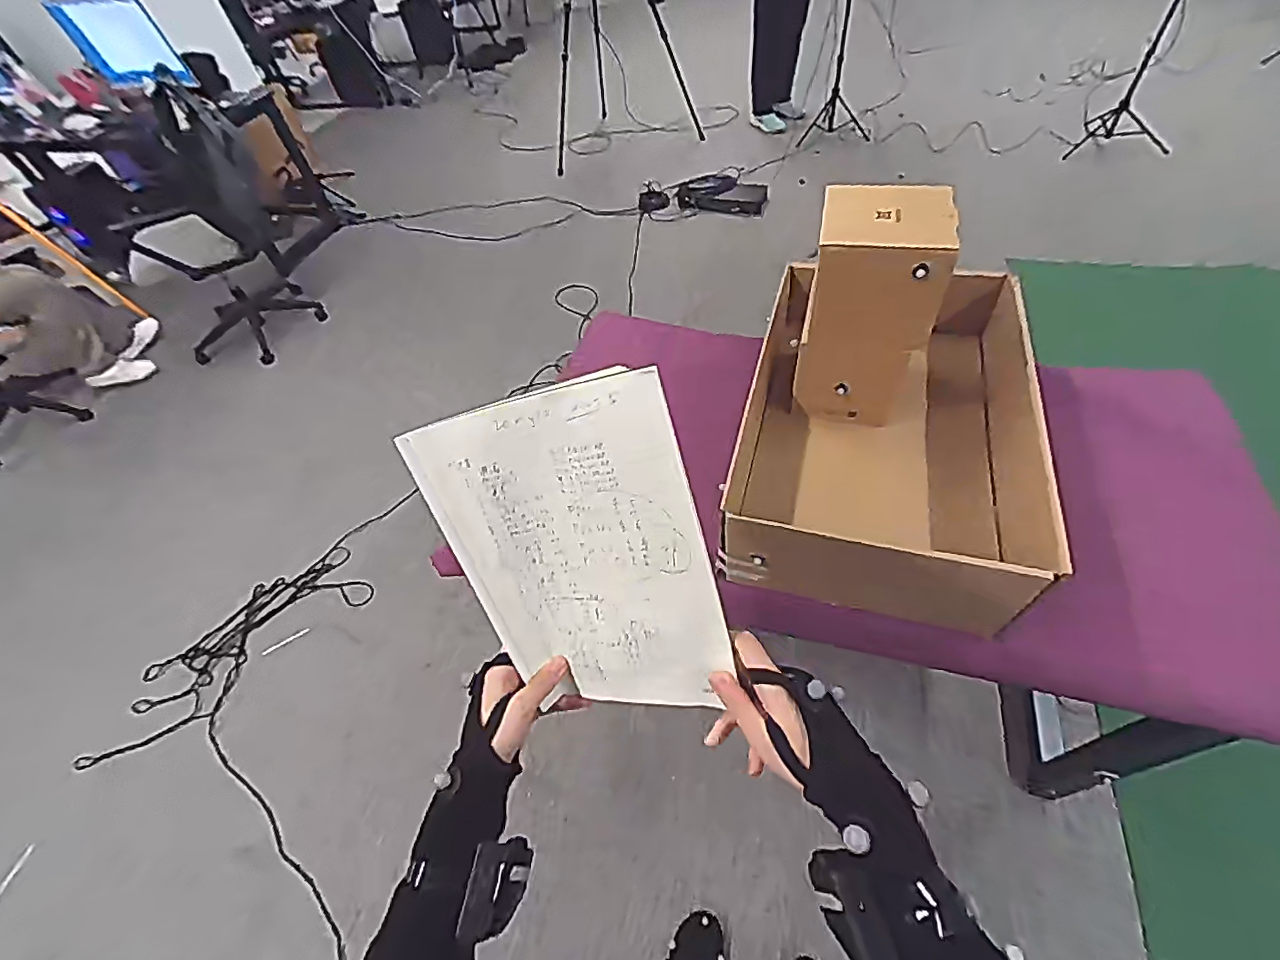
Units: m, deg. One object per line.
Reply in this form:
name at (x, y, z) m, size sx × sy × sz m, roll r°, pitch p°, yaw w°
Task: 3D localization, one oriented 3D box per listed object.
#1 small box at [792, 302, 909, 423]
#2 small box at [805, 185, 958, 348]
small box at (0.363, -0.222, 0.940) m, size 0.168 × 0.176 × 0.179 m, roll 10°, pitch 56°, yaw 16°
small box at (0.349, -0.316, 0.809) m, size 0.179 × 0.176 × 0.168 m, roll 8°, pitch 55°, yaw 14°
